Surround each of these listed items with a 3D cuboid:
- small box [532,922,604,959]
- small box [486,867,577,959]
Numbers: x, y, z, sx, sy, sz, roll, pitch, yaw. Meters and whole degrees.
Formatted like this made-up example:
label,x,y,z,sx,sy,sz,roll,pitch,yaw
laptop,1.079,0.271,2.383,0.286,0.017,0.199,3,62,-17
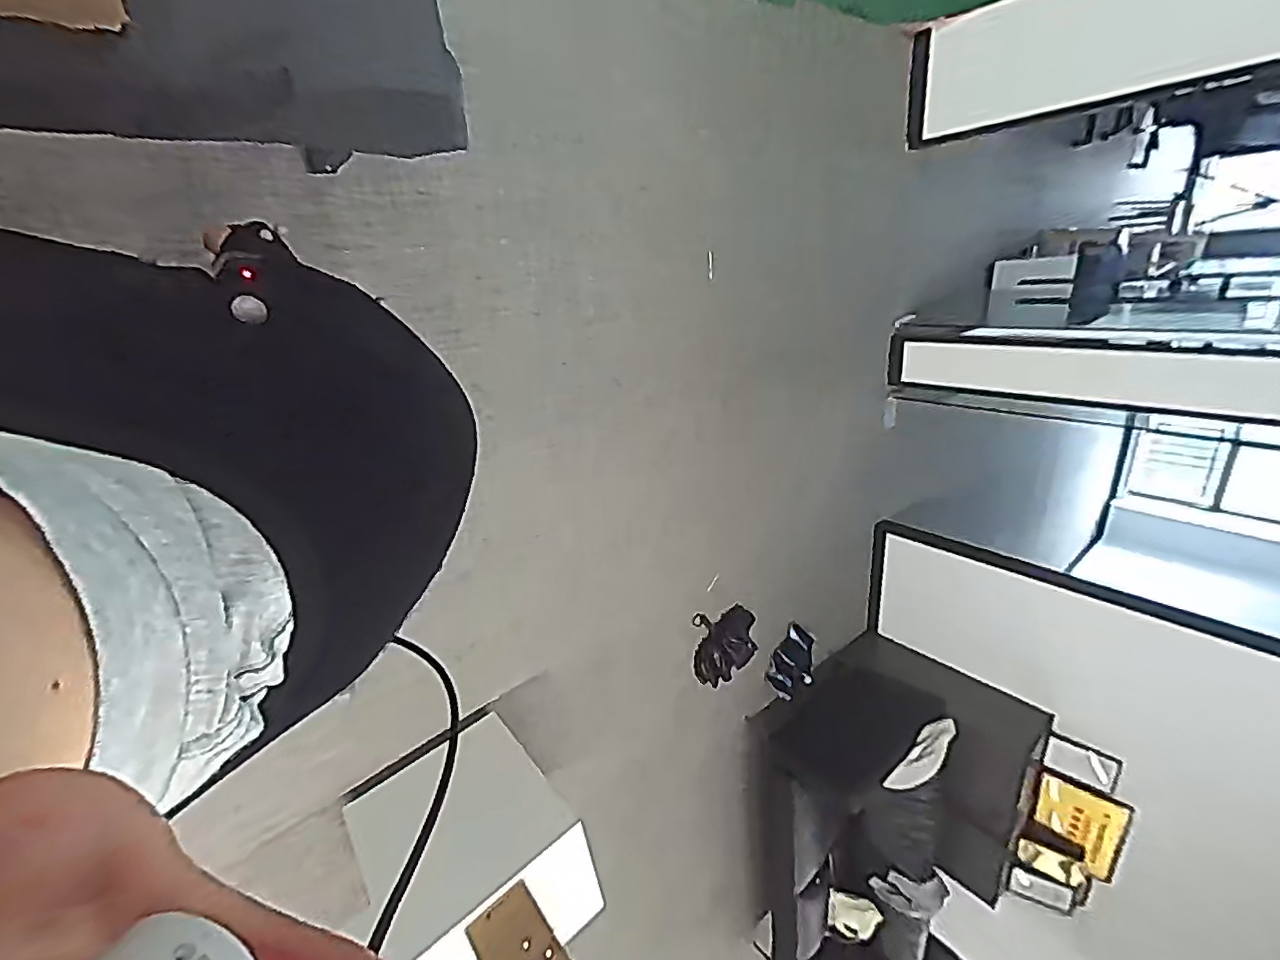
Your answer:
label,x,y,z,sx,sy,sz,roll,pitch,yaw
small box,-0.152,1.165,1.228,0.168,0.176,0.179,-29,123,-31
small box,-0.257,1.124,1.348,0.168,0.176,0.179,-30,123,-31
